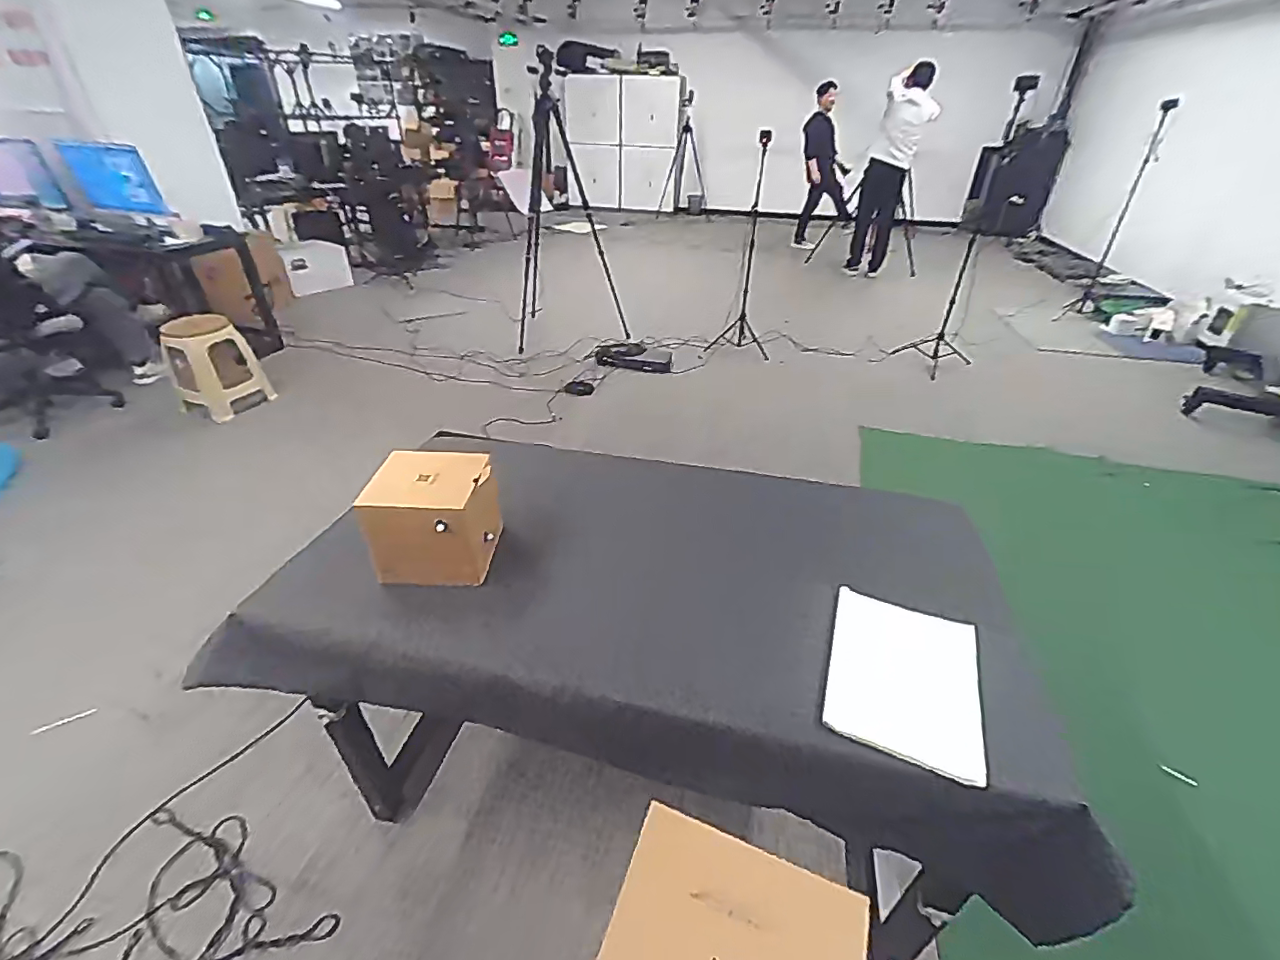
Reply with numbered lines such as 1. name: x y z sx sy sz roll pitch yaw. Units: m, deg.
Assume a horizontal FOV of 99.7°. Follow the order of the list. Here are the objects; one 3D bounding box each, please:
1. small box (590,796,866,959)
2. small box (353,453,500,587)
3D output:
1. small box: 0.048 0.378 0.392 0.168 0.176 0.179 17 44 14
2. small box: -0.352 0.068 0.931 0.179 0.176 0.168 2 33 0
